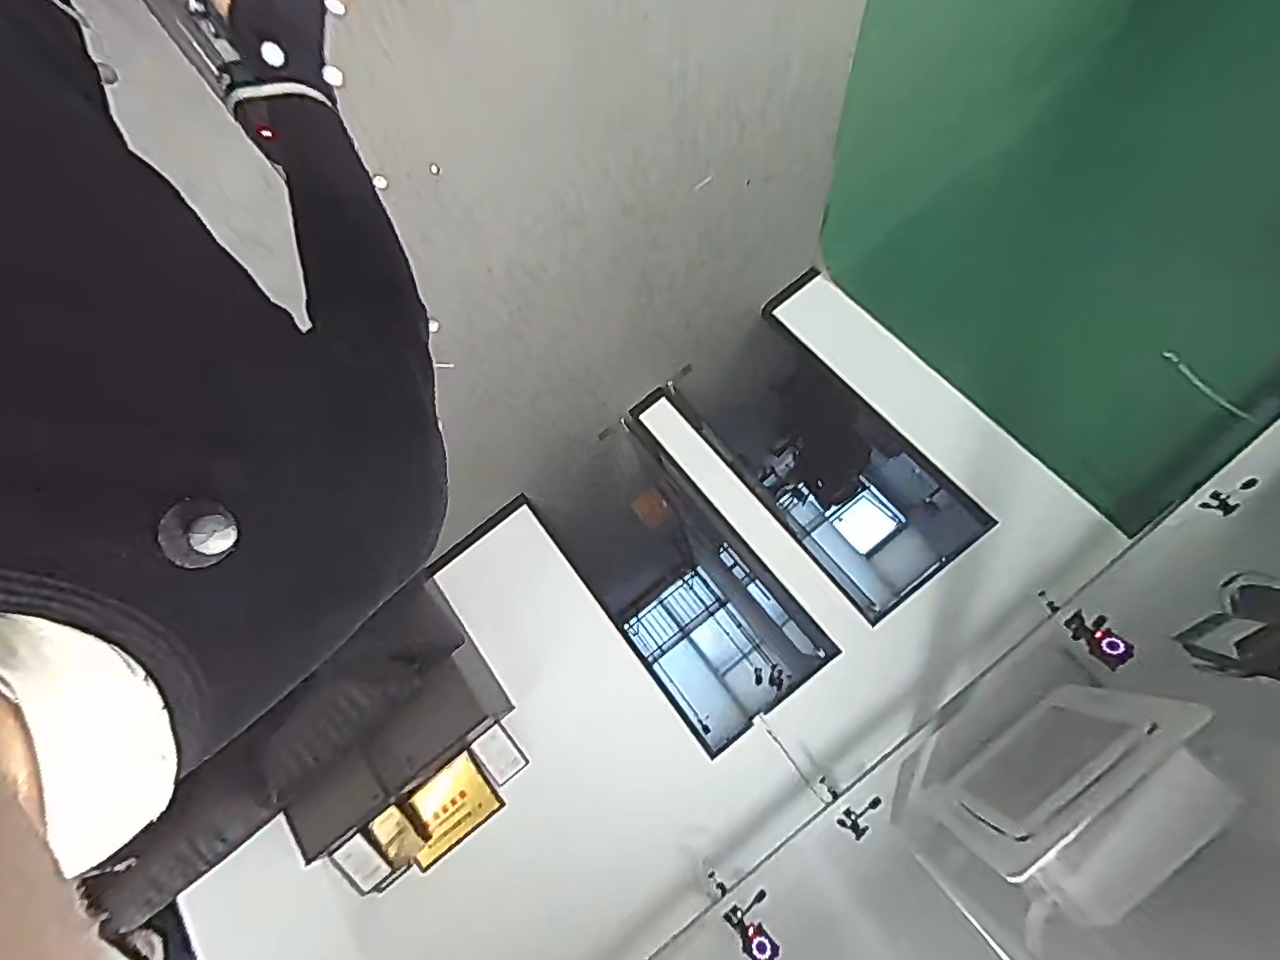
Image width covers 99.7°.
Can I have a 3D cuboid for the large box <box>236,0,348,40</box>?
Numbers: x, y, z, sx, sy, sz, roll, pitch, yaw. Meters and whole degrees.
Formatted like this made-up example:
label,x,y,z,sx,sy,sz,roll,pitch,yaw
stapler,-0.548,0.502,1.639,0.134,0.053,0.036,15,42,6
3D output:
label,x,y,z,sx,sy,sz,roll,pitch,yaw
large box,-0.510,-0.940,0.752,0.408,0.320,0.320,-38,162,-9
